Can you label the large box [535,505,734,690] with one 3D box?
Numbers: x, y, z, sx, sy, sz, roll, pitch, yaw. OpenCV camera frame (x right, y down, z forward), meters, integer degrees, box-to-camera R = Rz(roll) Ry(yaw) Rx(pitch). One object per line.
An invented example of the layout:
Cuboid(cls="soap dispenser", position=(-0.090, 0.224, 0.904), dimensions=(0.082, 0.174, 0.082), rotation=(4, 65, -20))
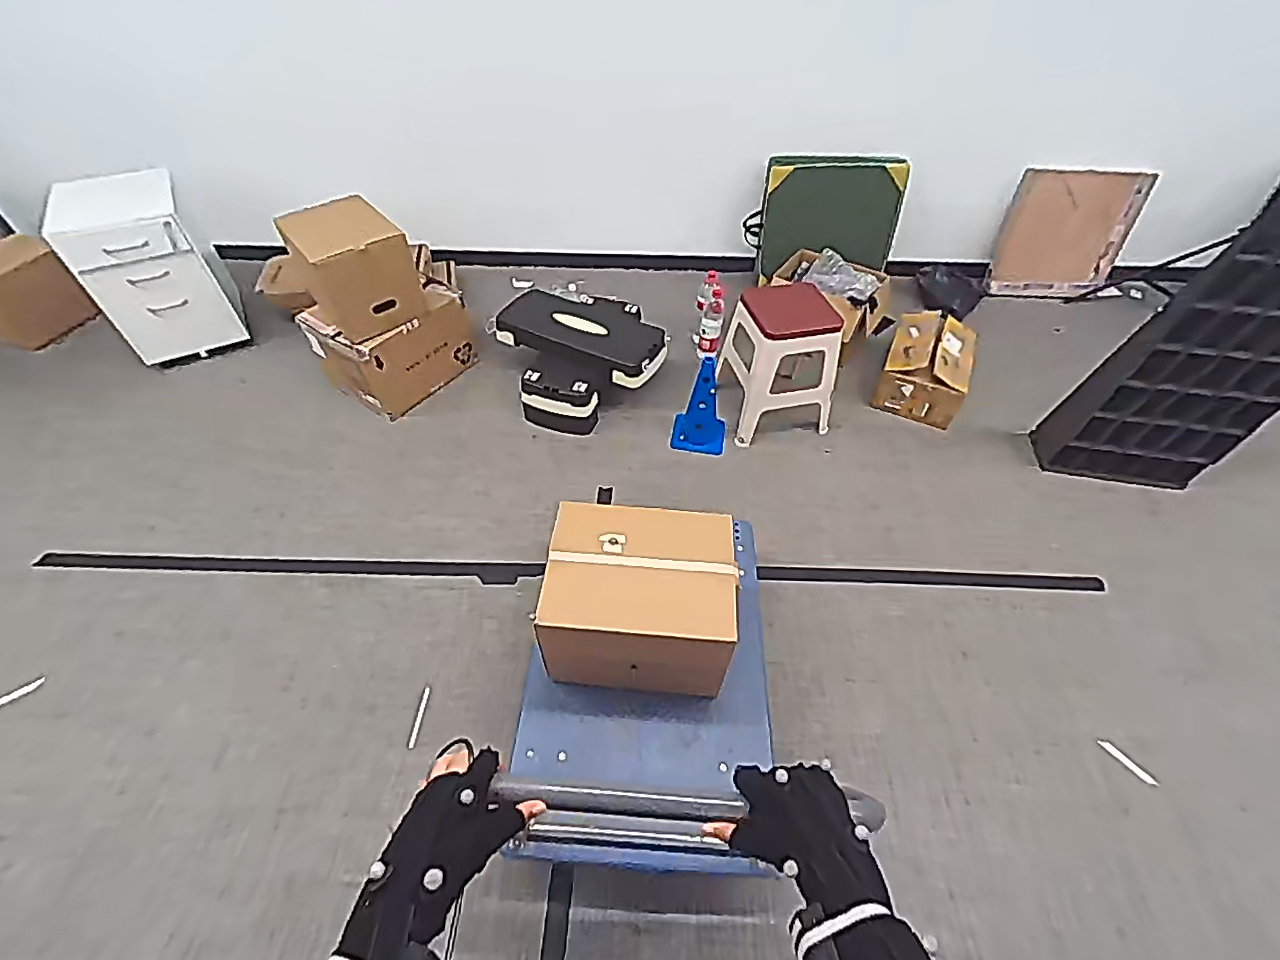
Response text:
Cuboid(cls="large box", position=(-0.001, 0.283, 1.278), dimensions=(0.408, 0.320, 0.320), rotation=(4, 49, 3))
